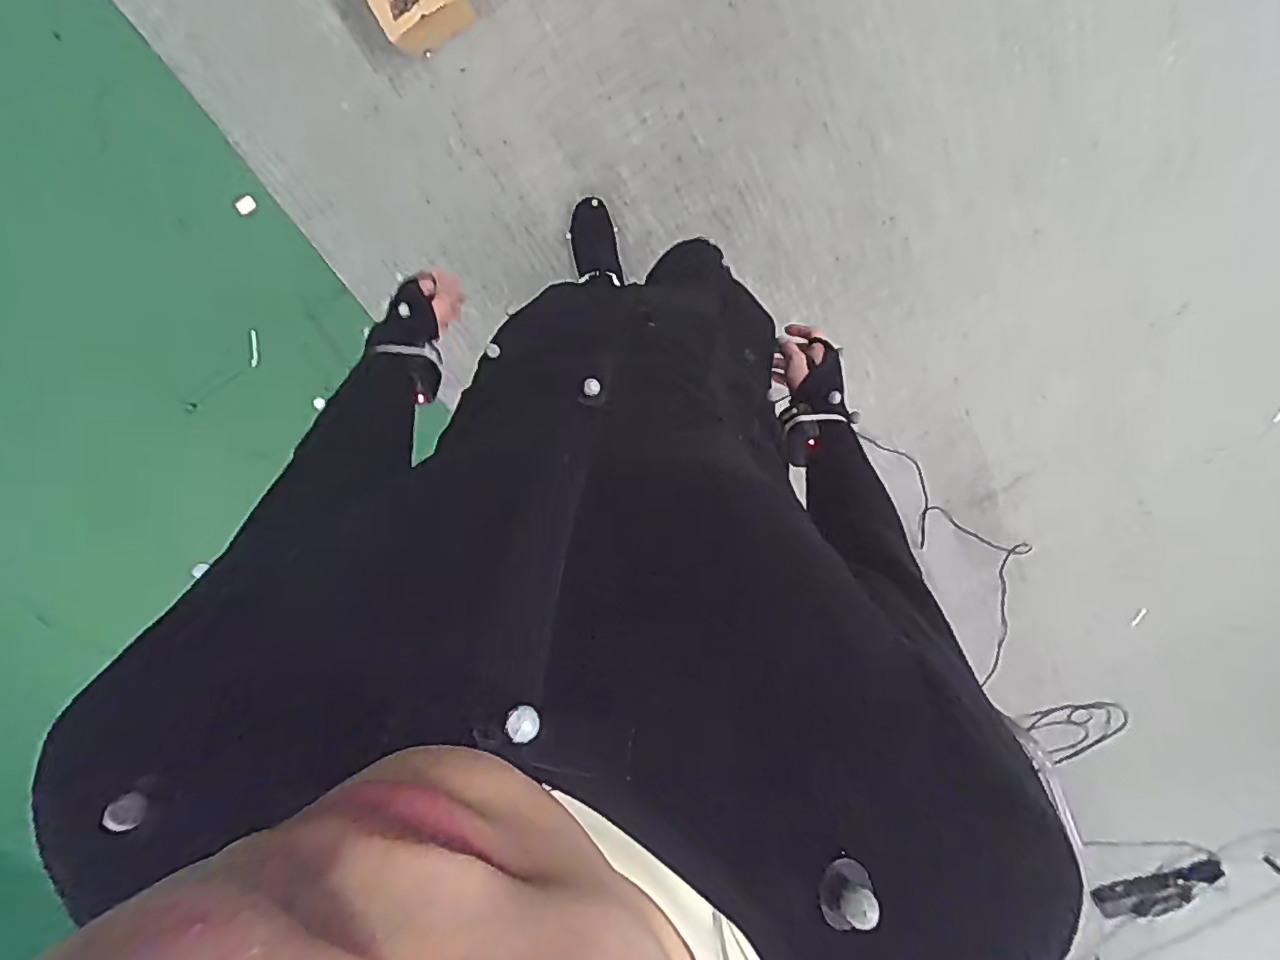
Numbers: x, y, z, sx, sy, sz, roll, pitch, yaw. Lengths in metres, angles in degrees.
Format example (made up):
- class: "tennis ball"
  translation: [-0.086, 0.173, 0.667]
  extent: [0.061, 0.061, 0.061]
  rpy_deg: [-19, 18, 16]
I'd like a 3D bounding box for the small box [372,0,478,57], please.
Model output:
- class: "small box"
  translation: [-0.461, -1.018, 1.118]
  extent: [0.168, 0.176, 0.179]
  rpy_deg: [-24, 115, 10]
